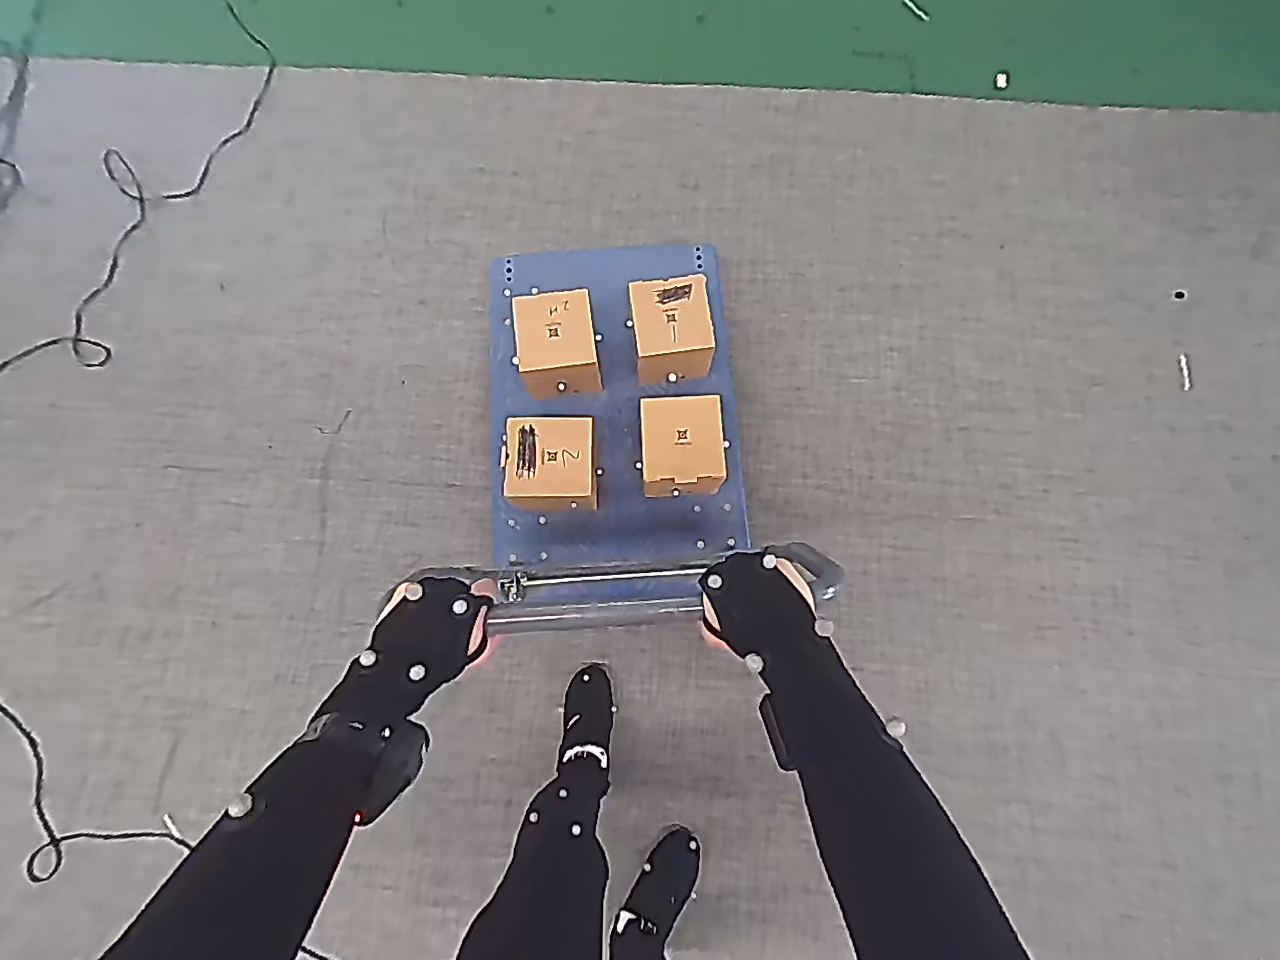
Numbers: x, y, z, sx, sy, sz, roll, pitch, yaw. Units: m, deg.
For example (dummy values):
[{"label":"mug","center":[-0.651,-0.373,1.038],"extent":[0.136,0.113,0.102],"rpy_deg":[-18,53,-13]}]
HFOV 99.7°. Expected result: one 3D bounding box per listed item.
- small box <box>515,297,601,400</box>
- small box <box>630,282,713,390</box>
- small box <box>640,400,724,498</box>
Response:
[{"label":"small box","center":[-0.183,-0.292,1.243],"extent":[0.168,0.176,0.179],"rpy_deg":[-7,78,-2]},{"label":"small box","center":[0.067,-0.327,1.248],"extent":[0.168,0.176,0.179],"rpy_deg":[-7,78,0]},{"label":"small box","center":[0.086,-0.063,1.191],"extent":[0.168,0.176,0.179],"rpy_deg":[-3,78,0]}]
